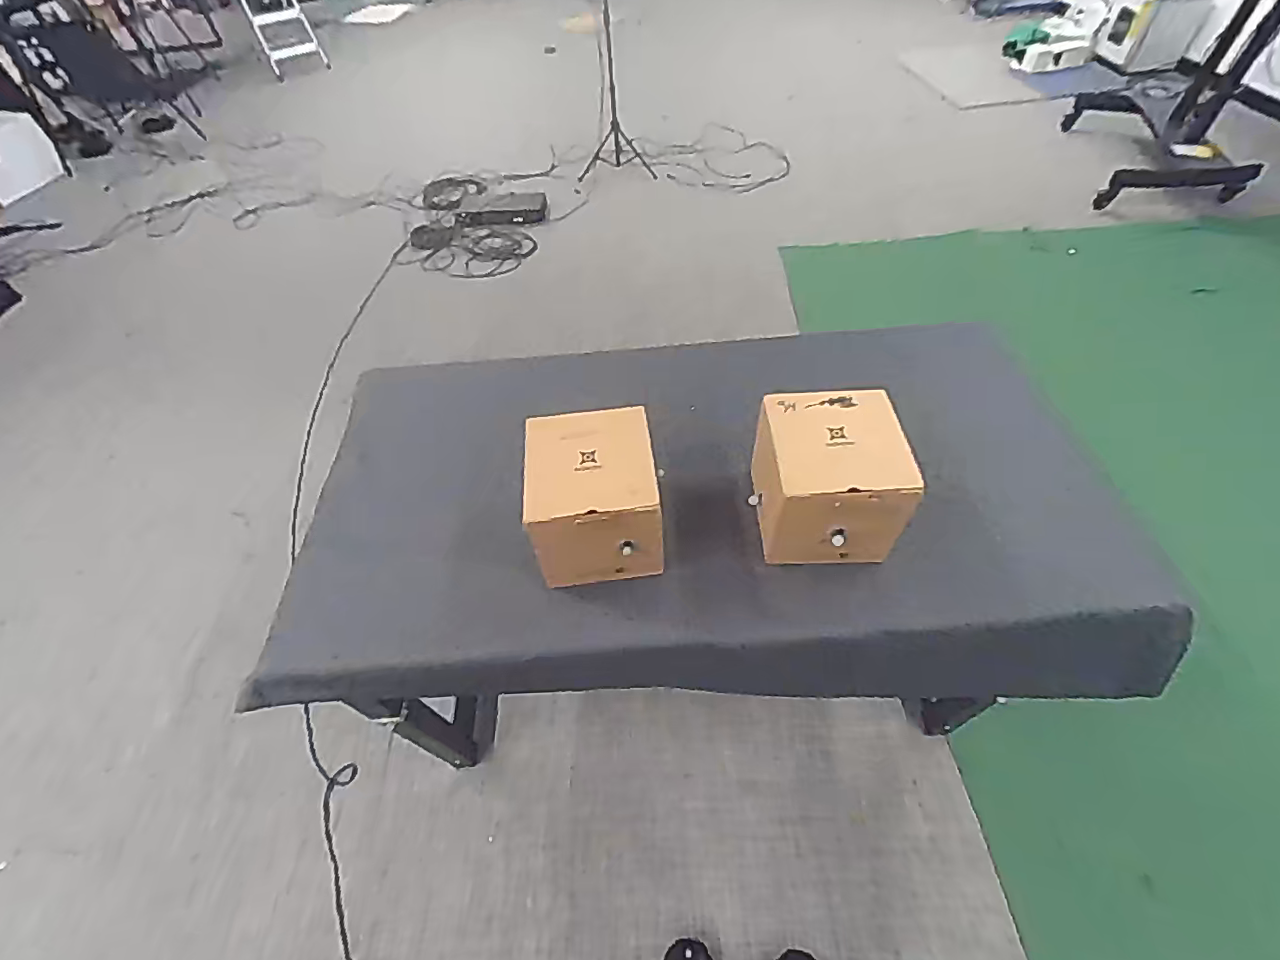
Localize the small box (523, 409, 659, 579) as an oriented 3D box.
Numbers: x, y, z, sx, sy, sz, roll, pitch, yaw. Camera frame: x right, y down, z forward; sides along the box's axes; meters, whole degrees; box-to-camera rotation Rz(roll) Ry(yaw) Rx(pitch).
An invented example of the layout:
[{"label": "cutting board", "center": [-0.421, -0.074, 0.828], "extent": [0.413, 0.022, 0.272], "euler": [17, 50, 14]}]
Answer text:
[{"label": "small box", "center": [-0.065, 0.026, 0.760], "extent": [0.168, 0.176, 0.179], "euler": [-6, 50, -4]}]

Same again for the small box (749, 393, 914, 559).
[{"label": "small box", "center": [0.251, 0.001, 0.759], "extent": [0.168, 0.176, 0.179], "euler": [-2, 52, 2]}]
